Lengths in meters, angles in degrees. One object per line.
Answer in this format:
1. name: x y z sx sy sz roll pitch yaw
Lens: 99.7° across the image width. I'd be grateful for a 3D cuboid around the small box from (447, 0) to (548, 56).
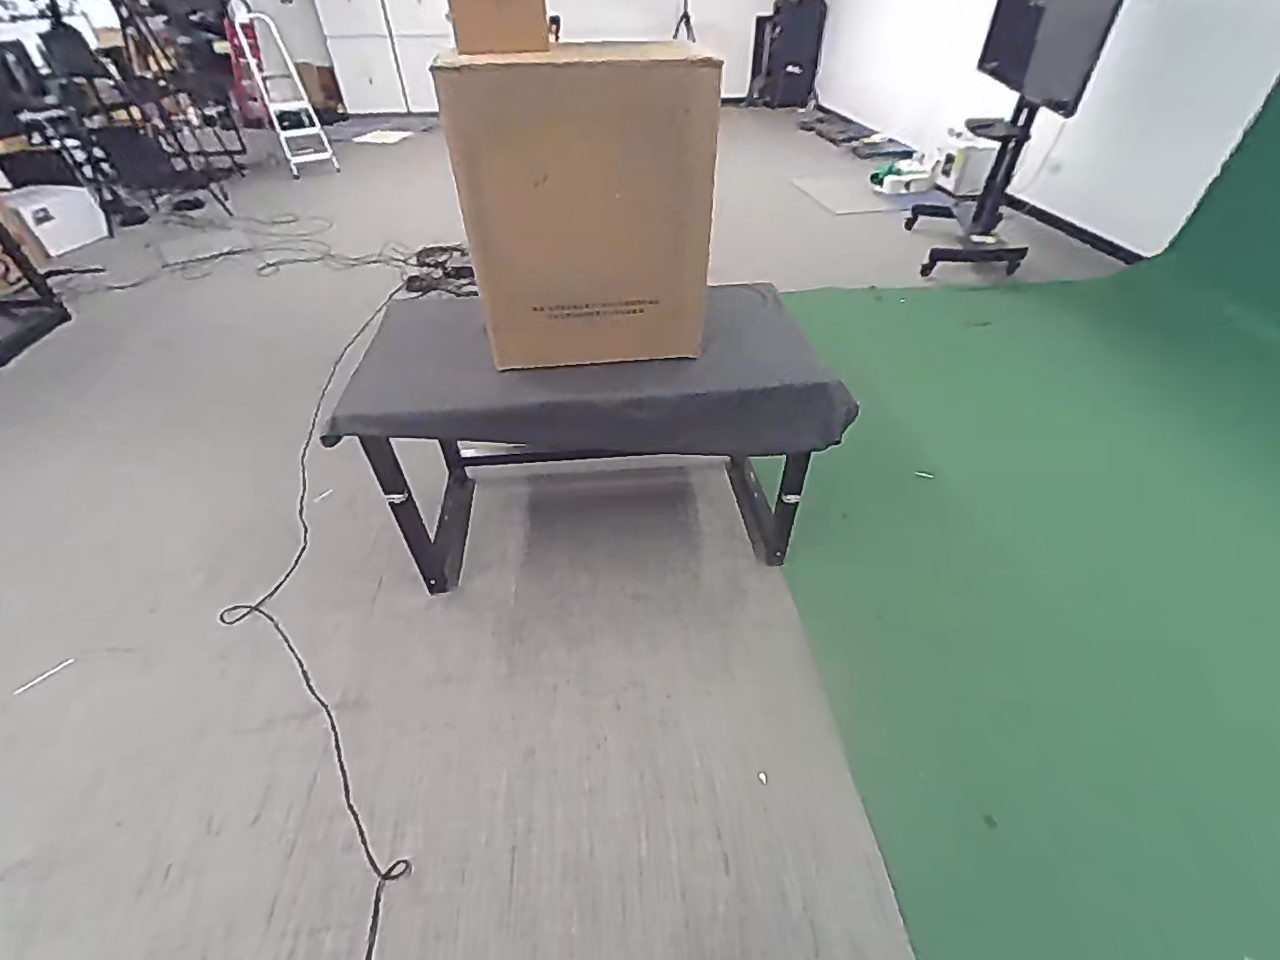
1. small box: -0.268 -0.917 1.013 0.179 0.176 0.168 -8 45 -5
